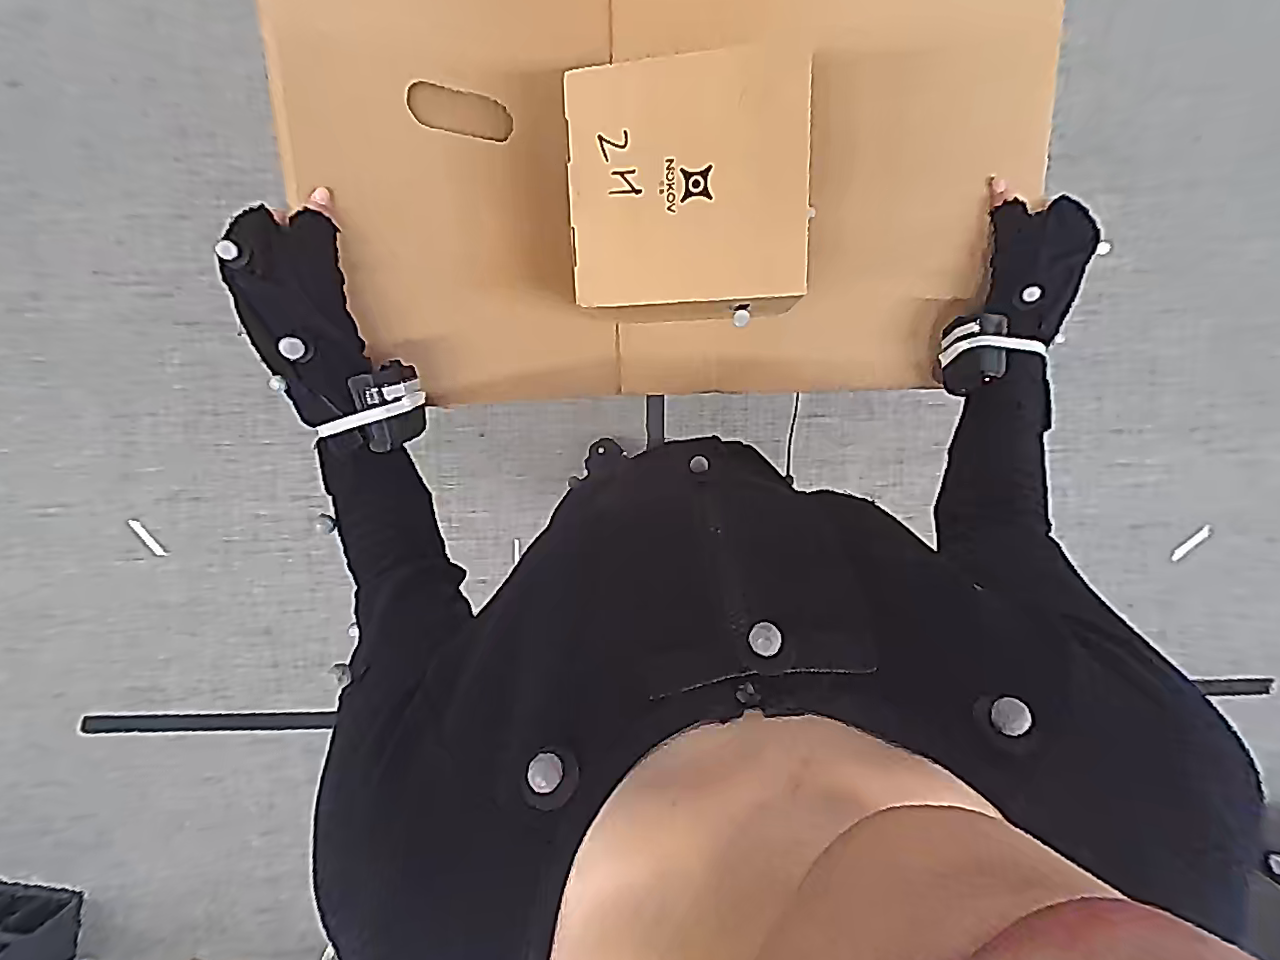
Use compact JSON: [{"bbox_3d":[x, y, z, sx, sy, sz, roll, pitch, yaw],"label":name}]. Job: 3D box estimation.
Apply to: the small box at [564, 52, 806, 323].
[{"bbox_3d":[0.044,-0.232,0.479,0.179,0.176,0.168,0,101,10],"label":"small box"}]
